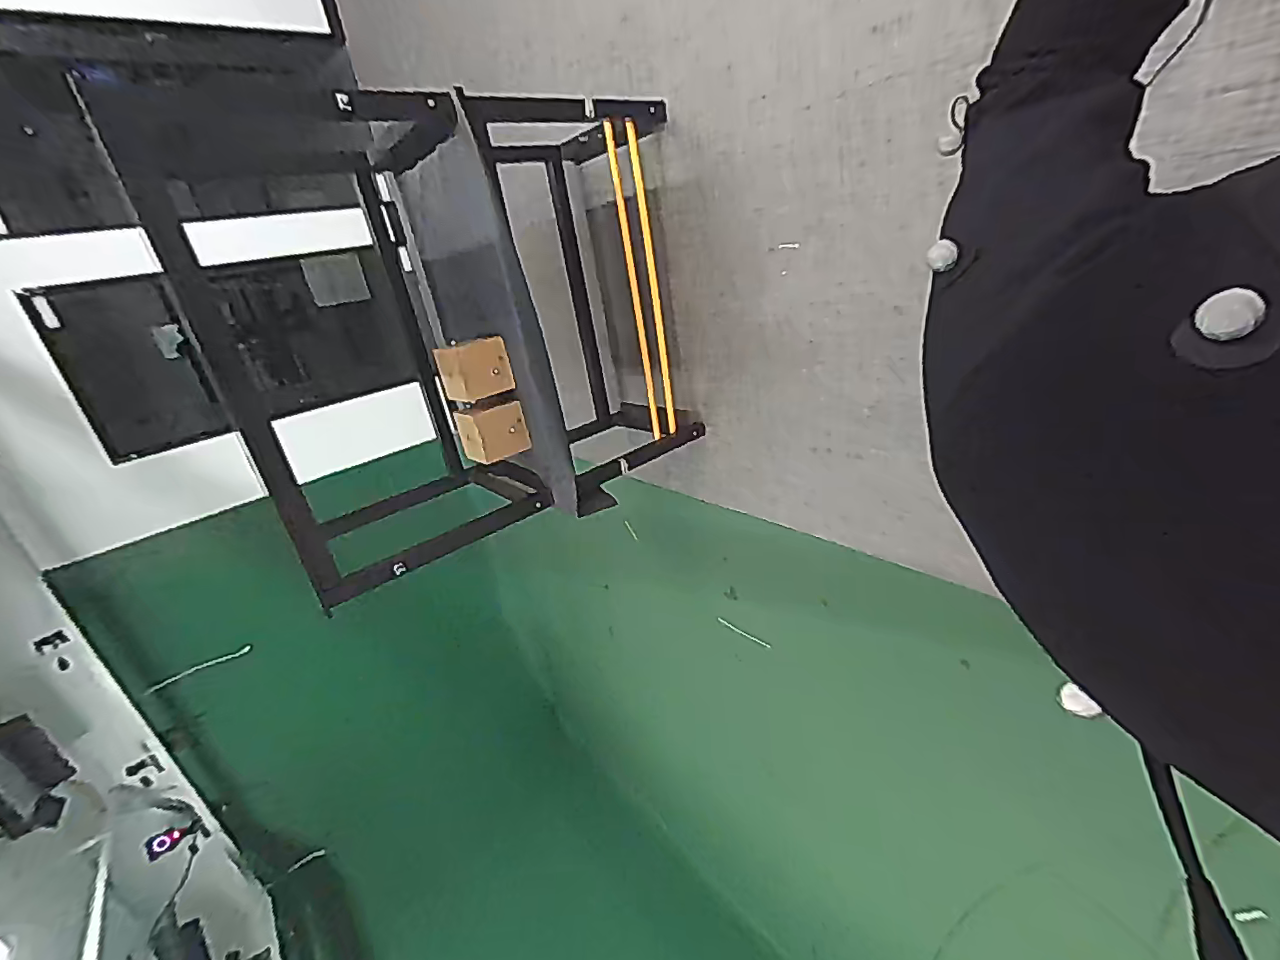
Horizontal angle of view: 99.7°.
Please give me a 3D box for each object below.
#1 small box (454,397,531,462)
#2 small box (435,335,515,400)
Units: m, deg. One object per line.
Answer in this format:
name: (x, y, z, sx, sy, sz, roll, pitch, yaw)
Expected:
small box: (-0.487, -0.173, 1.795, 0.179, 0.176, 0.168, 14, 122, 50)
small box: (-0.524, -0.361, 1.726, 0.179, 0.176, 0.168, 15, 123, 49)
